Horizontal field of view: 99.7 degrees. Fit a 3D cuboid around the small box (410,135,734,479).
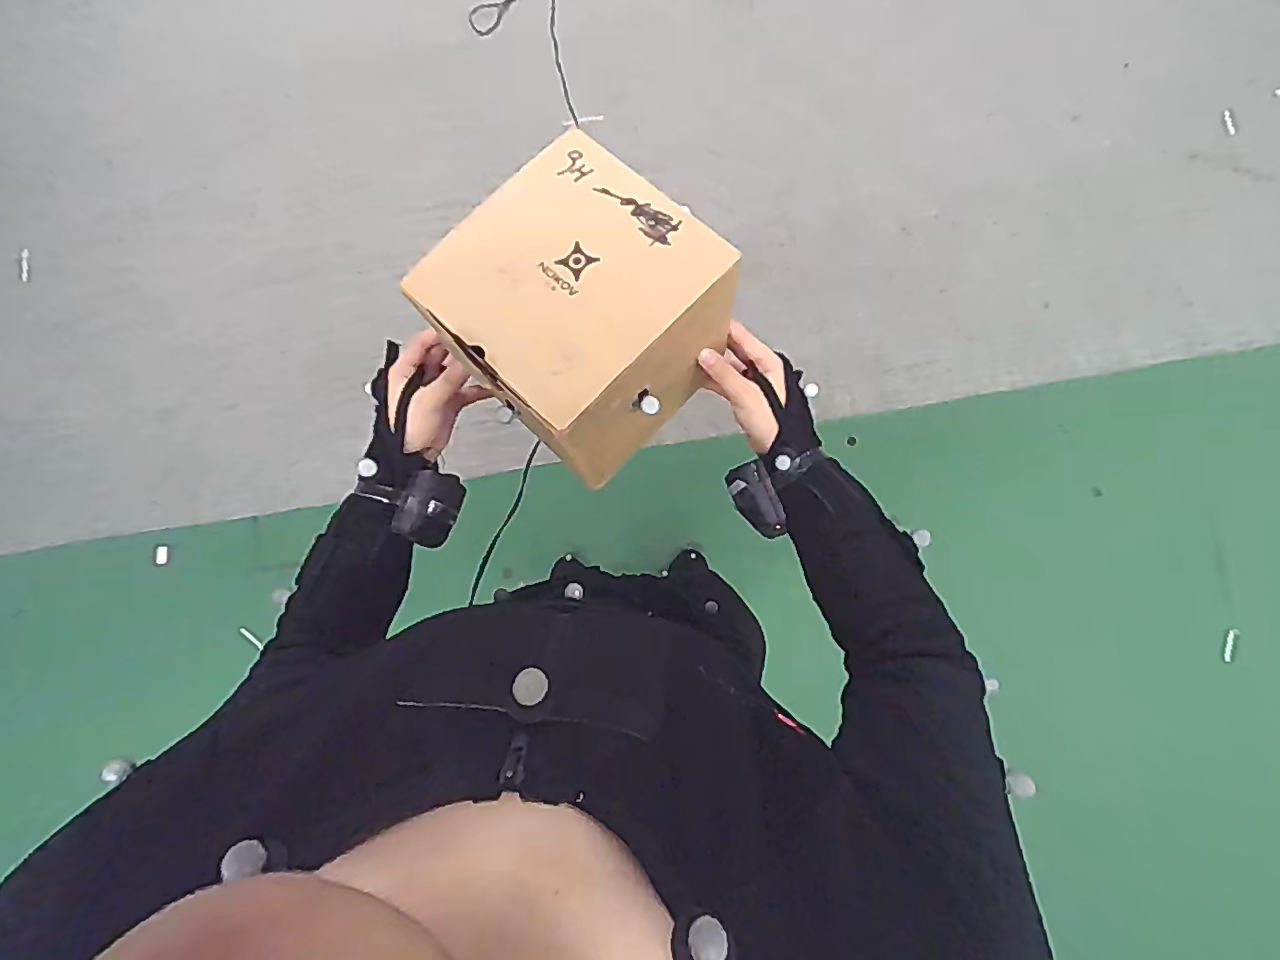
[{"bbox_3d":[-0.042,-0.125,0.453,0.168,0.176,0.179,42,83,12],"label":"small box"}]
